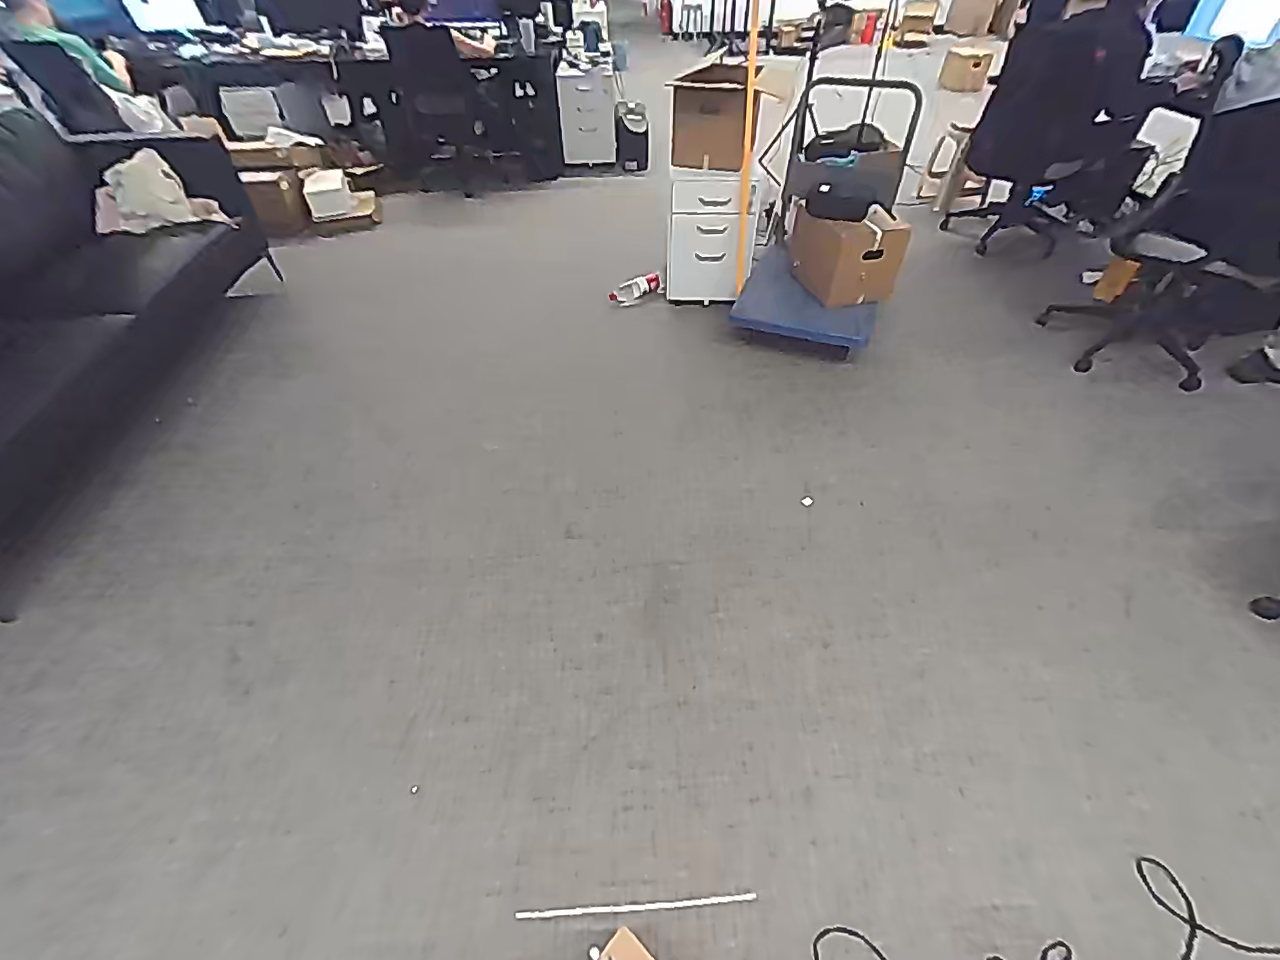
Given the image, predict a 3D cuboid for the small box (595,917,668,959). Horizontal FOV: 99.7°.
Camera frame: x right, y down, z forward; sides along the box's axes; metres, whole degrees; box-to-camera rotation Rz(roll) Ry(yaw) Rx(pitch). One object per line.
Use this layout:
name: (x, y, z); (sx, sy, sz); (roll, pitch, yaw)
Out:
small box: (-0.008, 0.893, 0.917); (0.179, 0.176, 0.168); (33, 56, 29)
